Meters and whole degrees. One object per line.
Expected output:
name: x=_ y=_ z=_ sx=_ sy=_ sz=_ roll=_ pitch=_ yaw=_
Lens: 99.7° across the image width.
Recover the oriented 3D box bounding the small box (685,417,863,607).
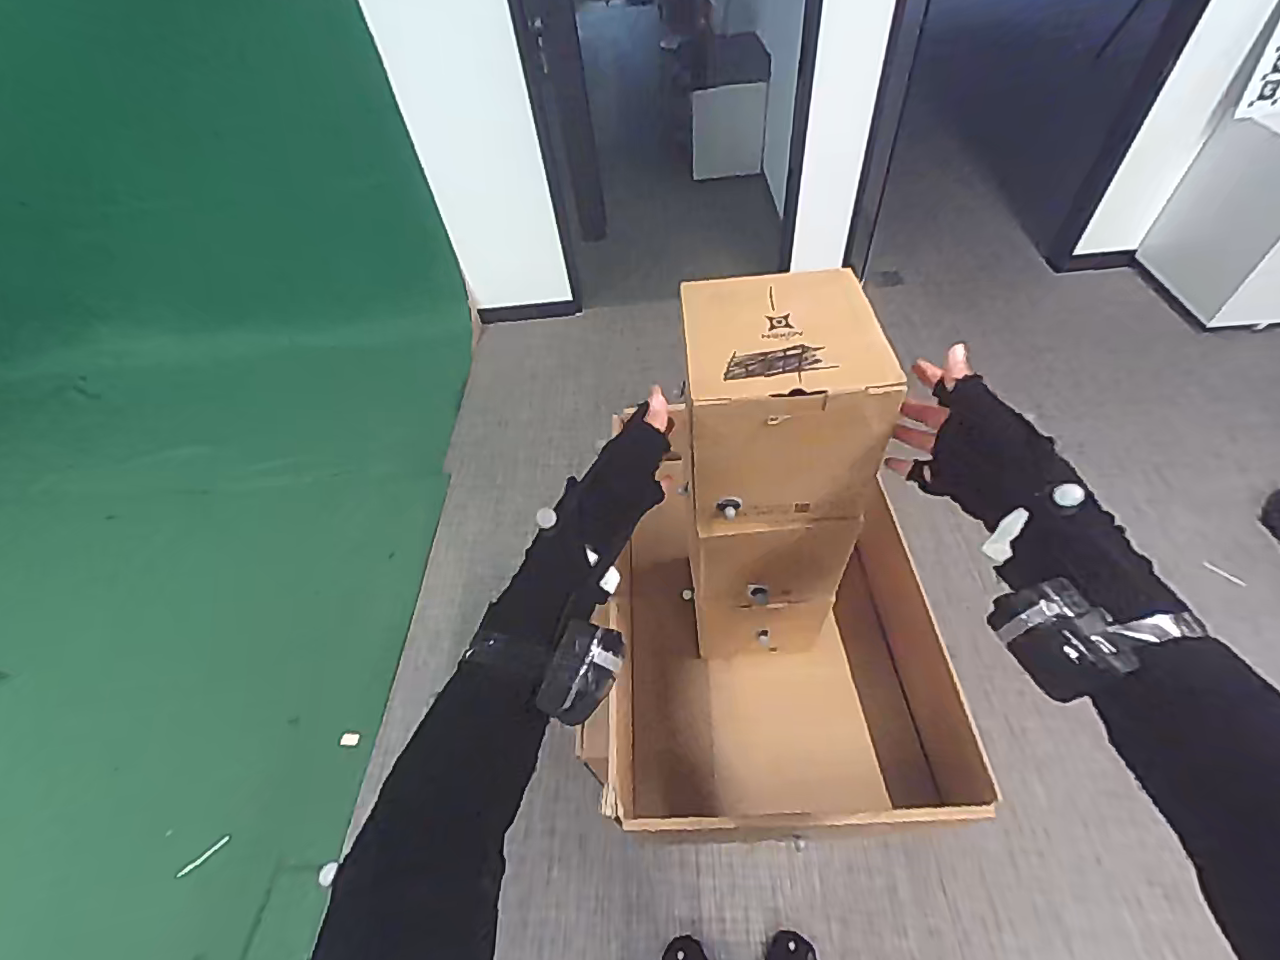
small box: x=0.144 y=0.033 z=0.653 sx=0.168 sy=0.176 sz=0.179 roll=-6 pitch=51 yaw=2

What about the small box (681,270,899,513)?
small box: x=0.128 y=-0.078 z=0.533 sx=0.168 sy=0.176 sz=0.179 roll=-3 pitch=50 yaw=4
